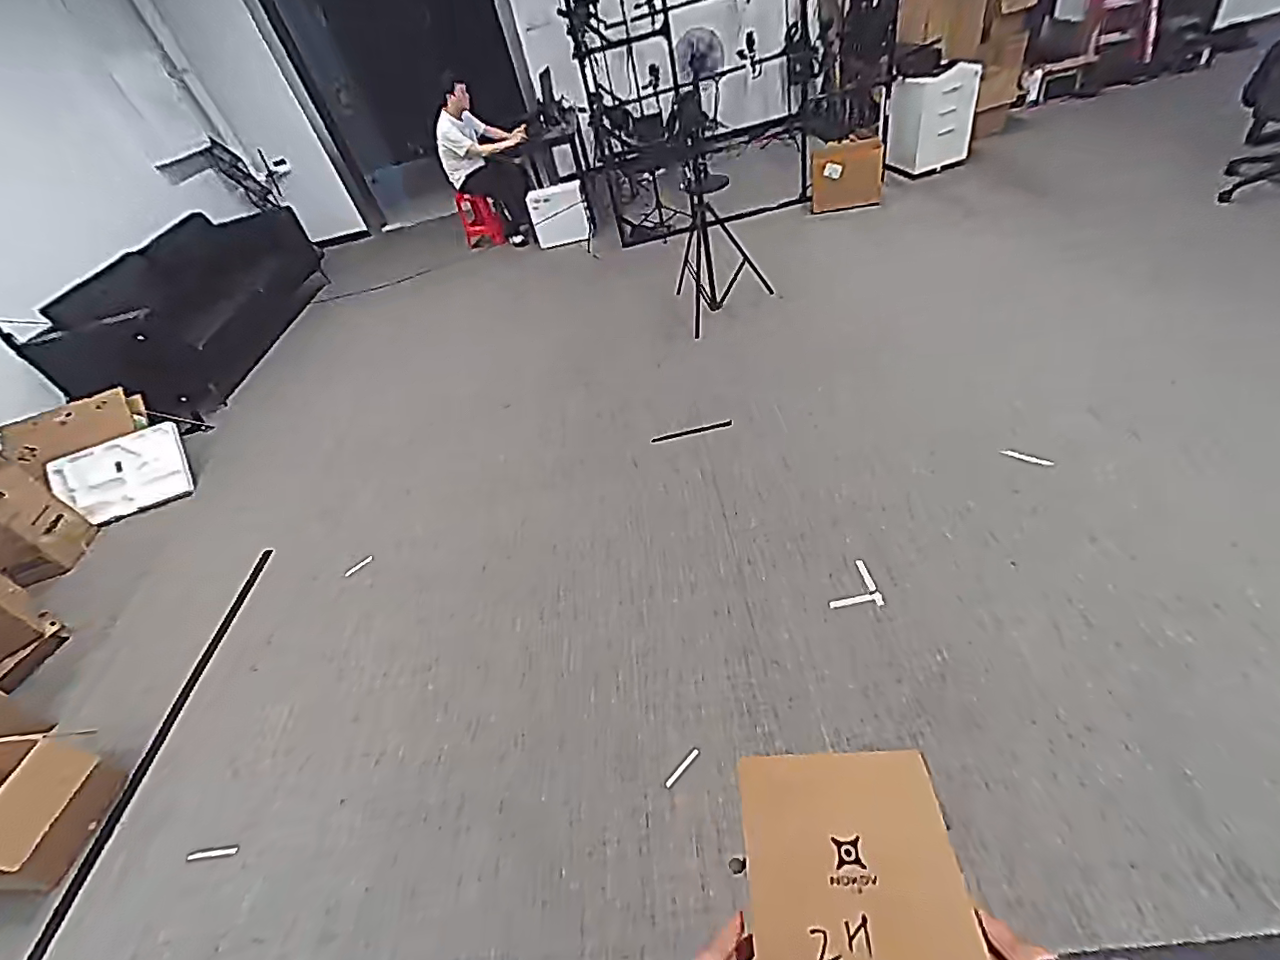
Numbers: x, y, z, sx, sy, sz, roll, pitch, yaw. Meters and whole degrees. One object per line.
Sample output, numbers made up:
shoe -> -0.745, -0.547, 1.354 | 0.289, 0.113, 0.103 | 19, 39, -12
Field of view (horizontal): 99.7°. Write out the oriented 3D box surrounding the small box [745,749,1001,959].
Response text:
small box -> 0.186, 0.364, 0.479 | 0.168, 0.176, 0.179 | -7, 41, 8
